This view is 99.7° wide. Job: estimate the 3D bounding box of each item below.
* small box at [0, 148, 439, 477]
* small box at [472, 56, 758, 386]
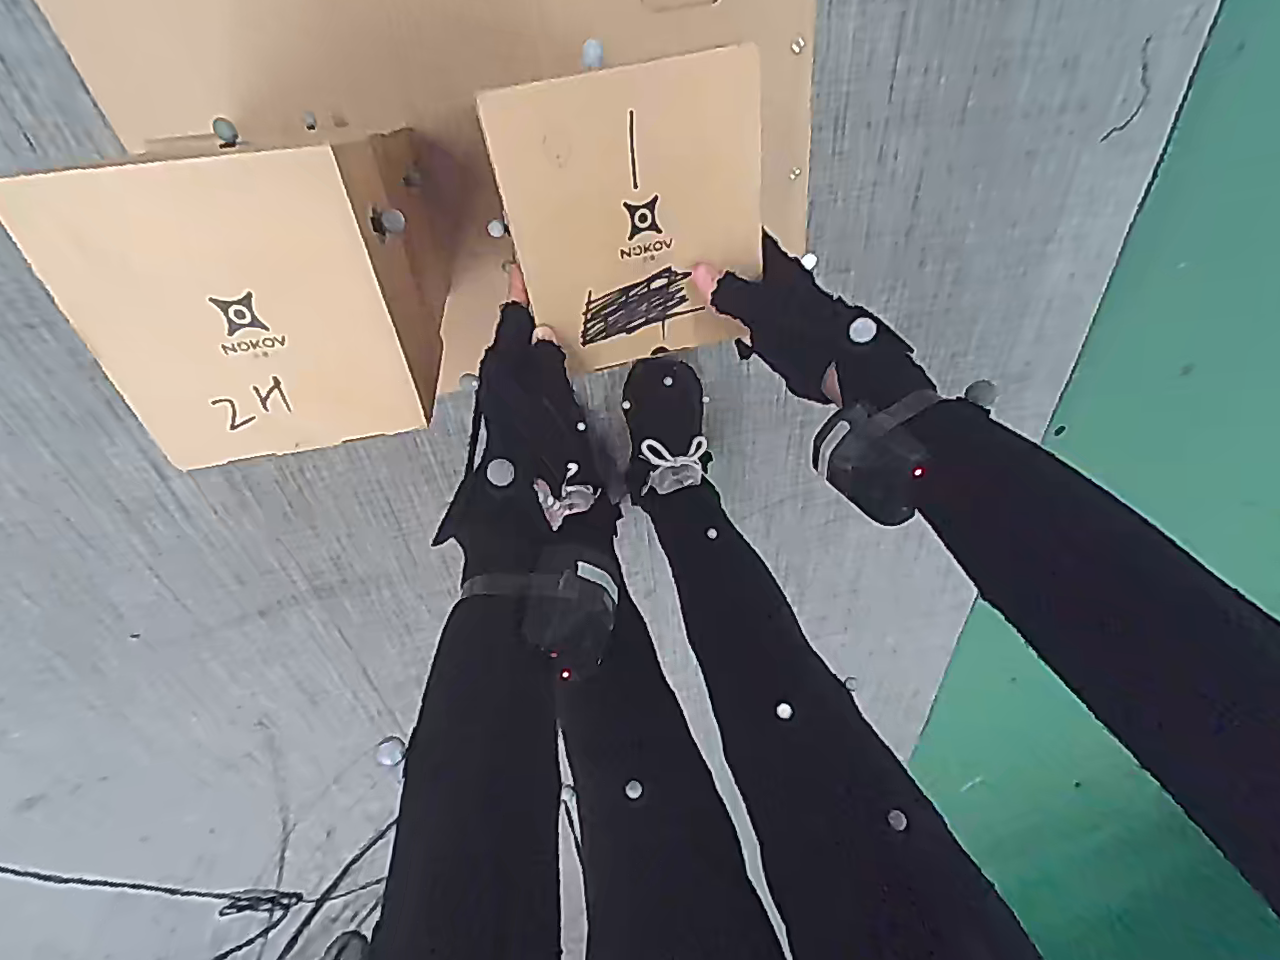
[{"bbox_3d":[-0.253,-0.131,0.388,0.168,0.176,0.179,-11,126,-8],"label":"small box"},{"bbox_3d":[-0.019,-0.200,0.415,0.168,0.176,0.179,-15,126,-6],"label":"small box"}]
